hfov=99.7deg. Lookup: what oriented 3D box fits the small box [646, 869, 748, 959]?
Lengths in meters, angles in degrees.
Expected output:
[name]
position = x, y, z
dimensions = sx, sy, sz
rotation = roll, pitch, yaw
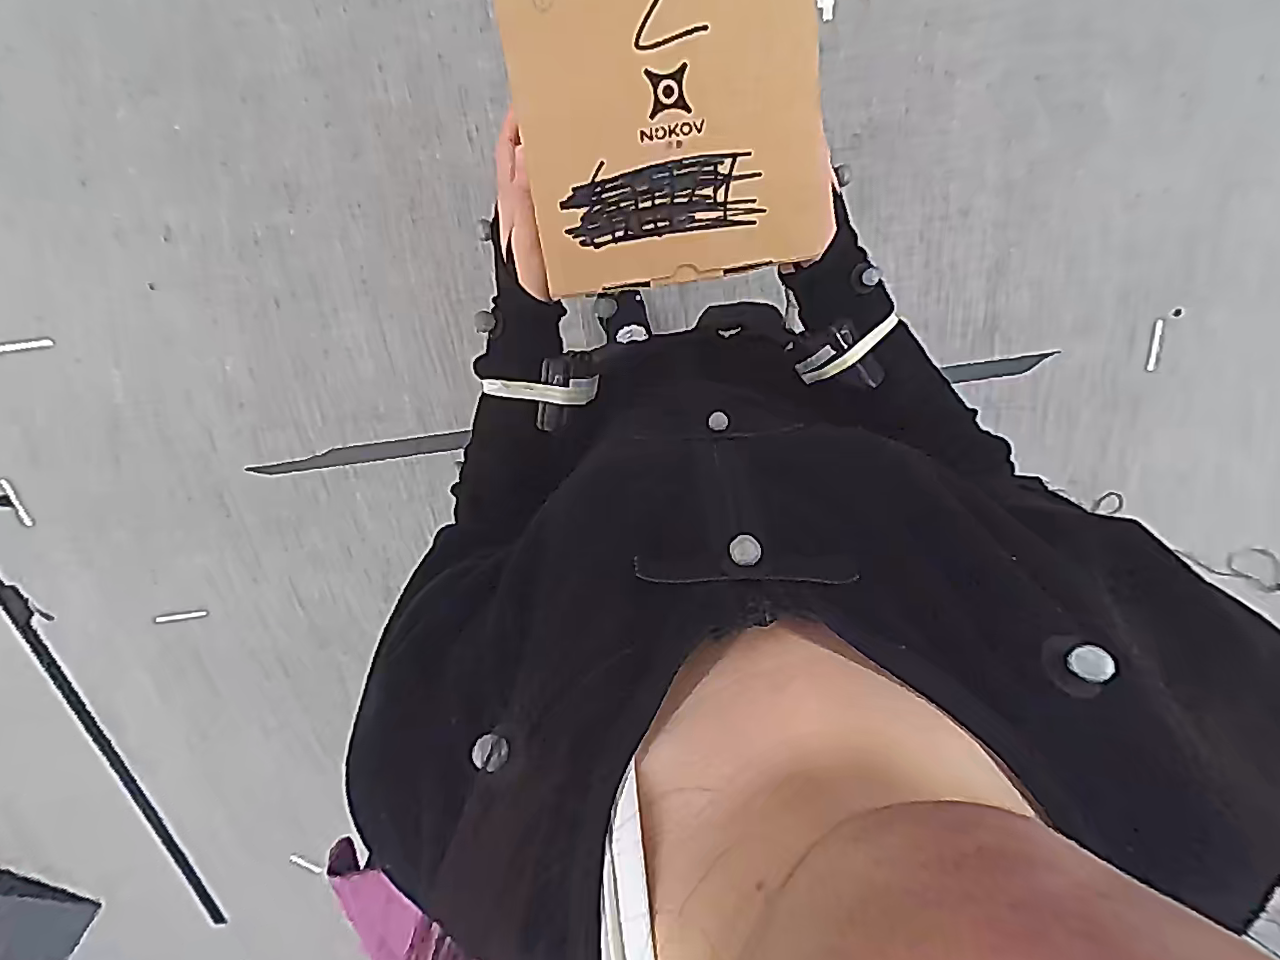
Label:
[small box]
position = 0.105, 0.863, 0.994
dimensions = 0.168, 0.176, 0.179
rotation = -7, 111, -3
